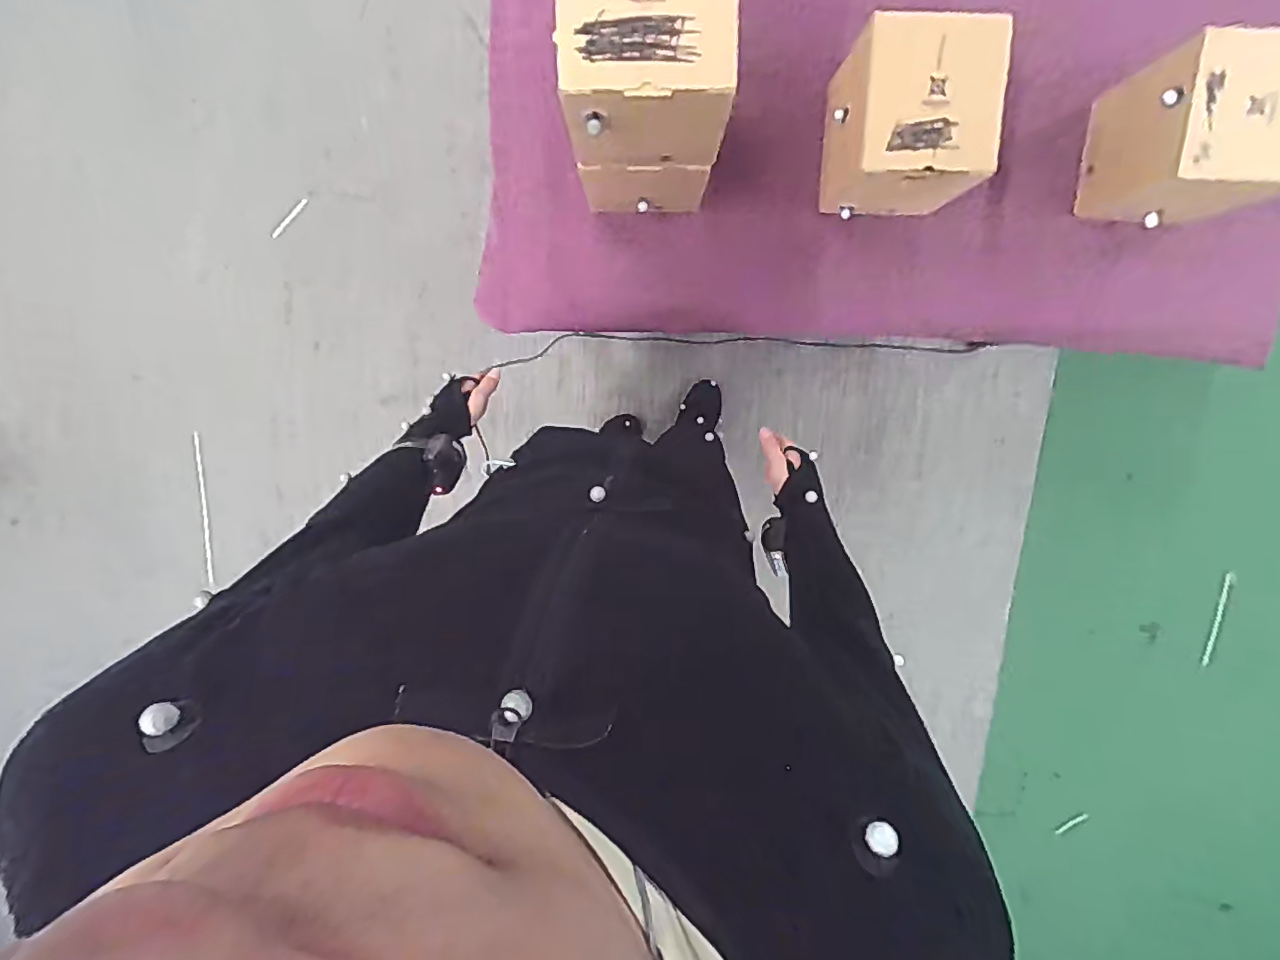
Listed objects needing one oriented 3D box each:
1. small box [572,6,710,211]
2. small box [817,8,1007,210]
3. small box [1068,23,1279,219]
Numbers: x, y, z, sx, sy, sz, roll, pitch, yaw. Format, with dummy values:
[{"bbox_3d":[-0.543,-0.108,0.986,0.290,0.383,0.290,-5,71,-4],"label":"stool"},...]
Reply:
[{"bbox_3d":[0.000,-0.481,0.724,0.168,0.176,0.179,0,100,0],"label":"small box"},{"bbox_3d":[0.346,-0.478,0.725,0.168,0.176,0.179,1,99,0],"label":"small box"},{"bbox_3d":[0.737,-0.464,0.726,0.179,0.176,0.168,3,100,0],"label":"small box"}]
